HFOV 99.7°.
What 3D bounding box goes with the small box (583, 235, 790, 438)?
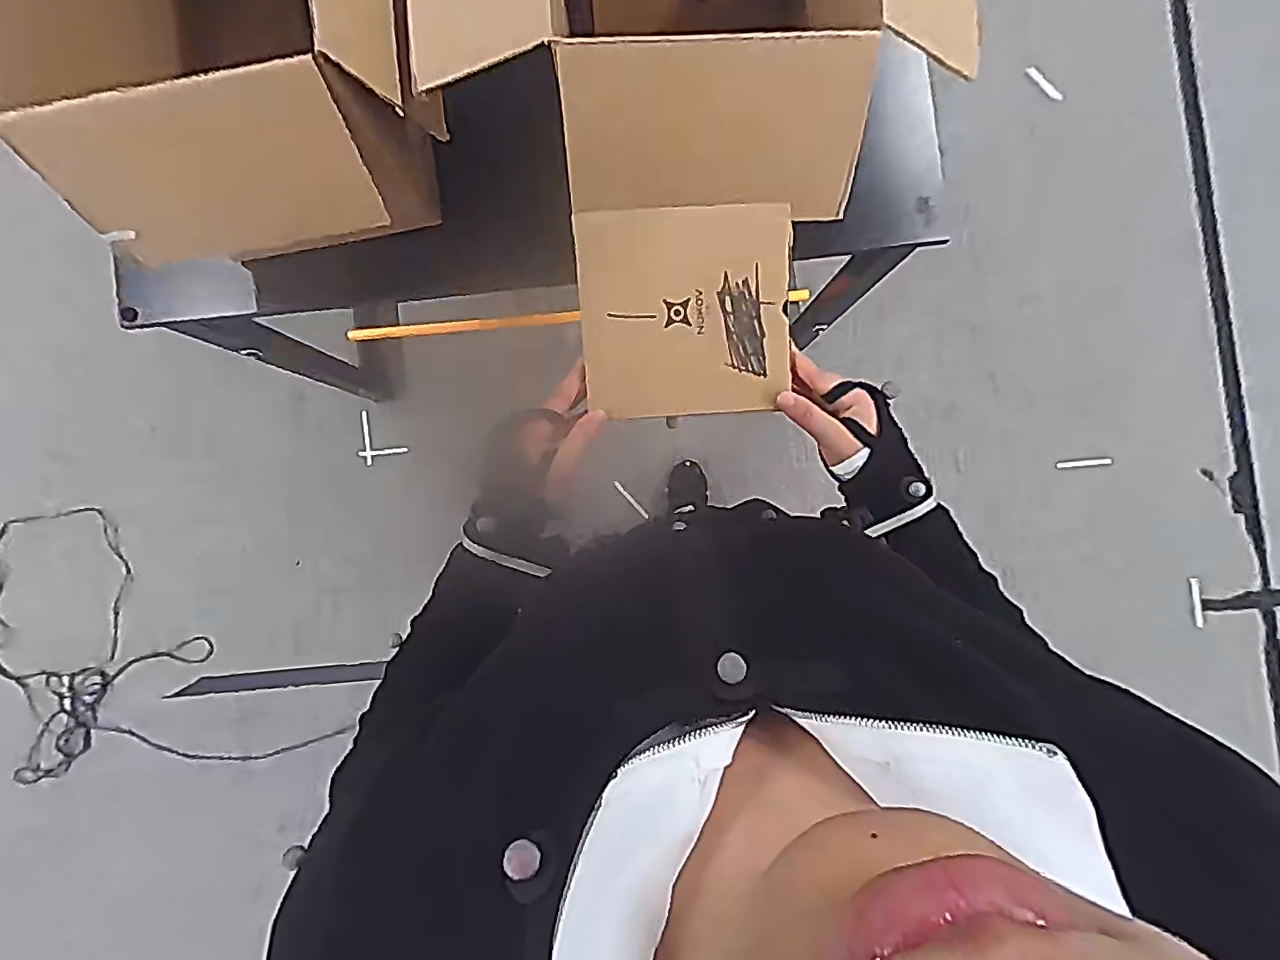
[{"bbox_3d":[0.037,-0.135,0.539,0.179,0.176,0.168,-4,100,-3],"label":"small box"}]
